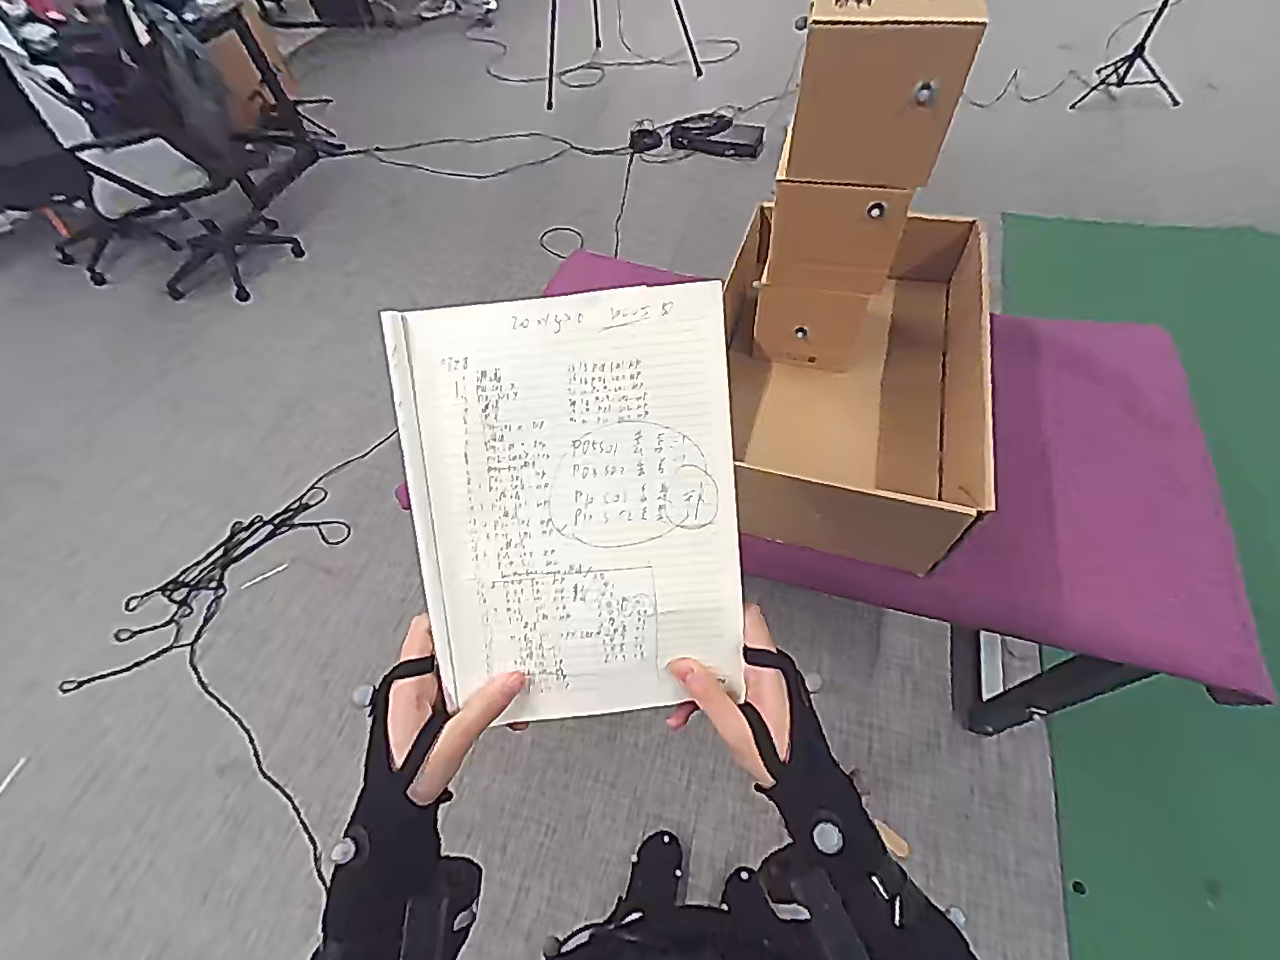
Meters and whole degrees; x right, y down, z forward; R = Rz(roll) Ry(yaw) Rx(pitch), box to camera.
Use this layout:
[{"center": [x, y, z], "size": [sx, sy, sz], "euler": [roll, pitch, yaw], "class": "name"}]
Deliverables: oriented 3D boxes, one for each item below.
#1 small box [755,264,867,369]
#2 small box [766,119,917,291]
[{"center": [0.299, -0.317, 0.935], "size": [0.168, 0.176, 0.179], "euler": [13, 61, 14], "class": "small box"}, {"center": [0.288, -0.400, 0.797], "size": [0.179, 0.176, 0.168], "euler": [11, 60, 13], "class": "small box"}]
